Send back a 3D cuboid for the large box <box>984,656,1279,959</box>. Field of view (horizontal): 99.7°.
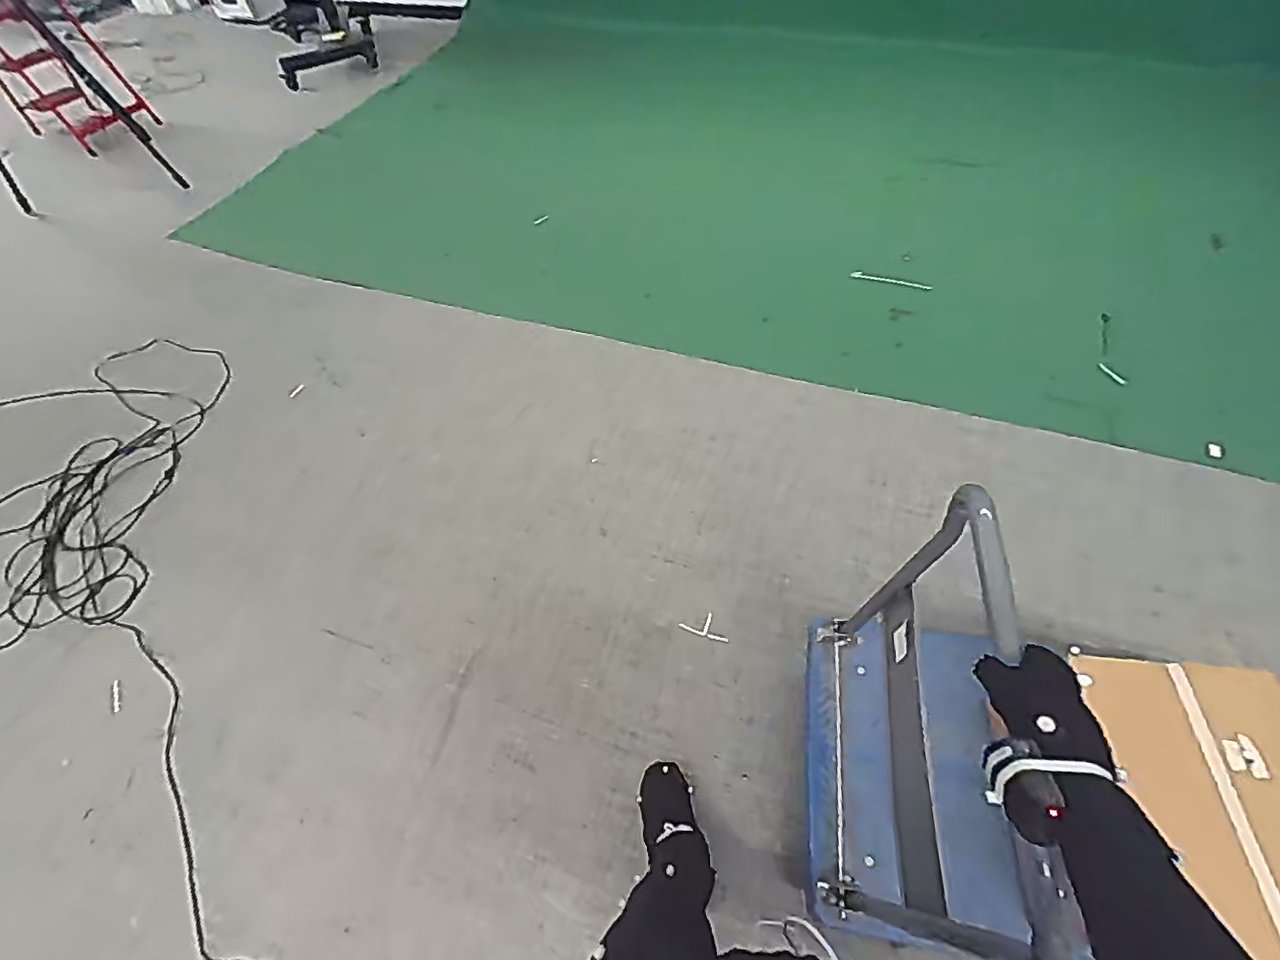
[{"bbox_3d":[0.844,0.551,0.901,0.320,0.320,0.408,4,56,6],"label":"large box"}]
